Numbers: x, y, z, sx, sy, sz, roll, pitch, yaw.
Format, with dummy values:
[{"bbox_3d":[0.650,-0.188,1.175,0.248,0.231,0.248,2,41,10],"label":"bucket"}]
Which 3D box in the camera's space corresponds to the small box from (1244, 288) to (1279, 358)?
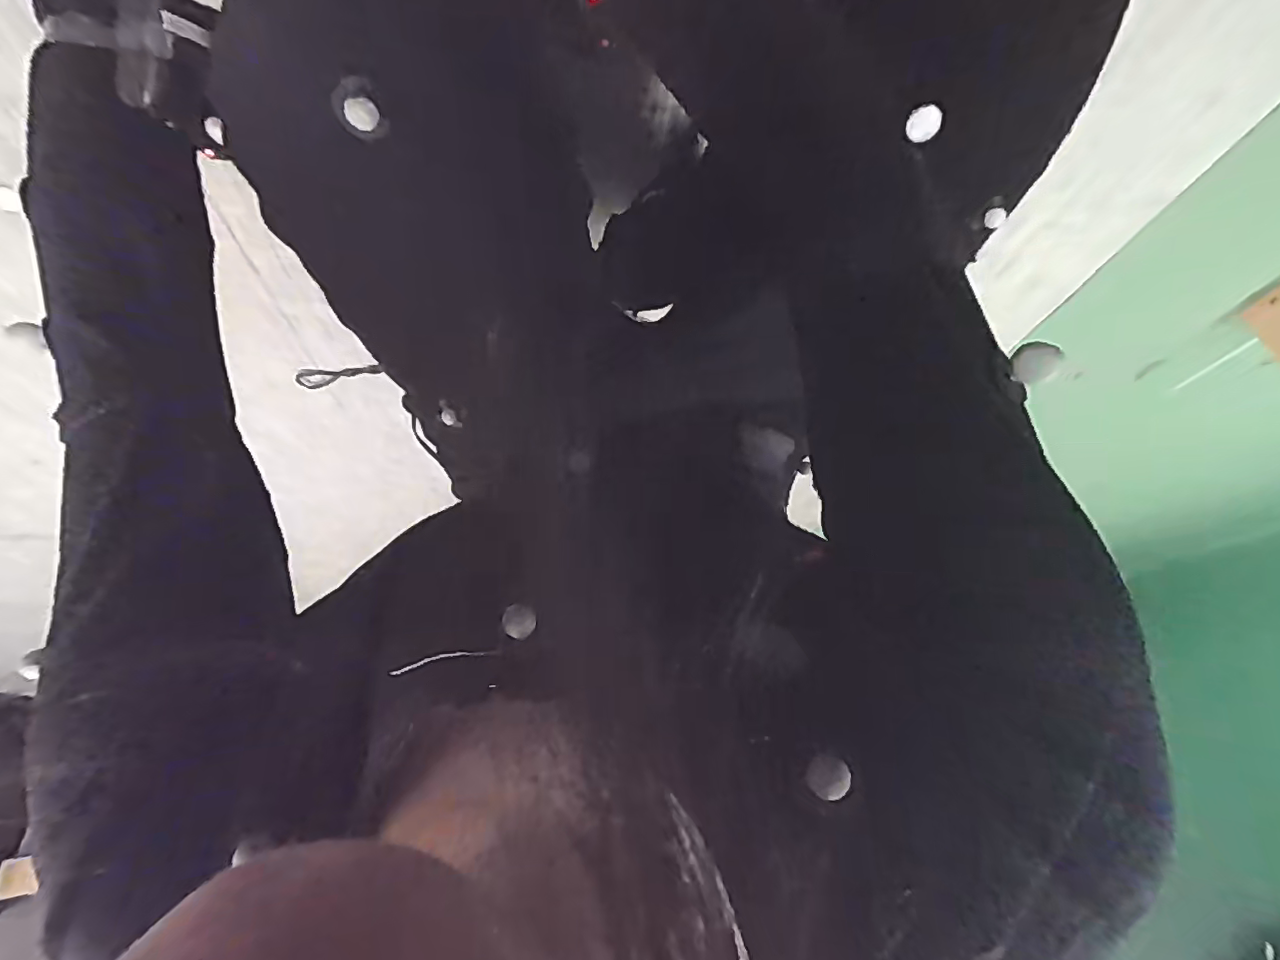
[{"bbox_3d":[1.356,-0.319,1.040,0.179,0.176,0.168,-4,154,-9],"label":"small box"}]
